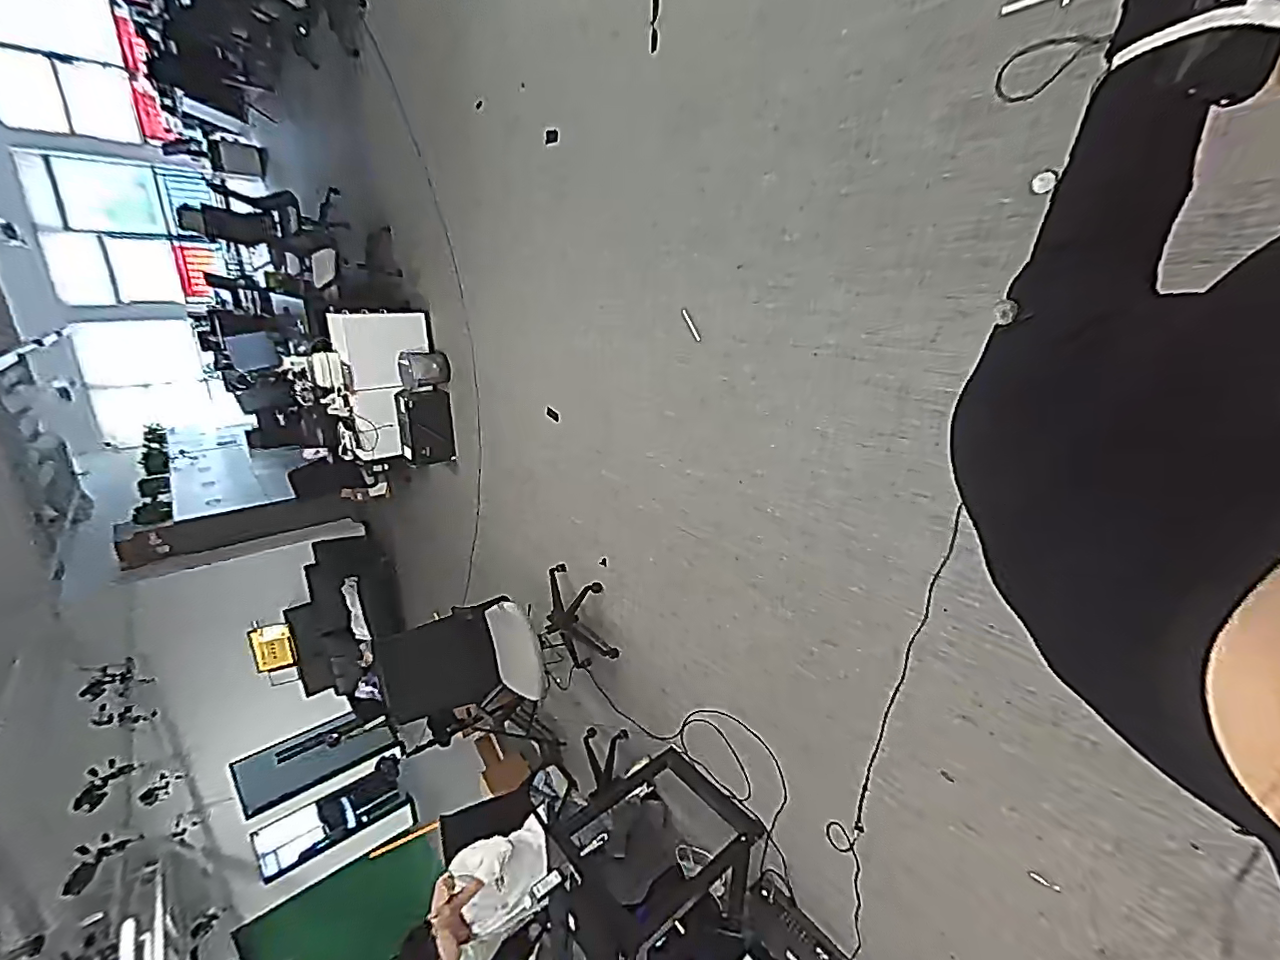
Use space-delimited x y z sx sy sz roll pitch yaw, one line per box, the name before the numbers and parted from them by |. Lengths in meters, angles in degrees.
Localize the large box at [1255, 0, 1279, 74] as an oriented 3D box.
large box | 0.630 -0.445 0.247 0.408 0.320 0.320 21 121 47
